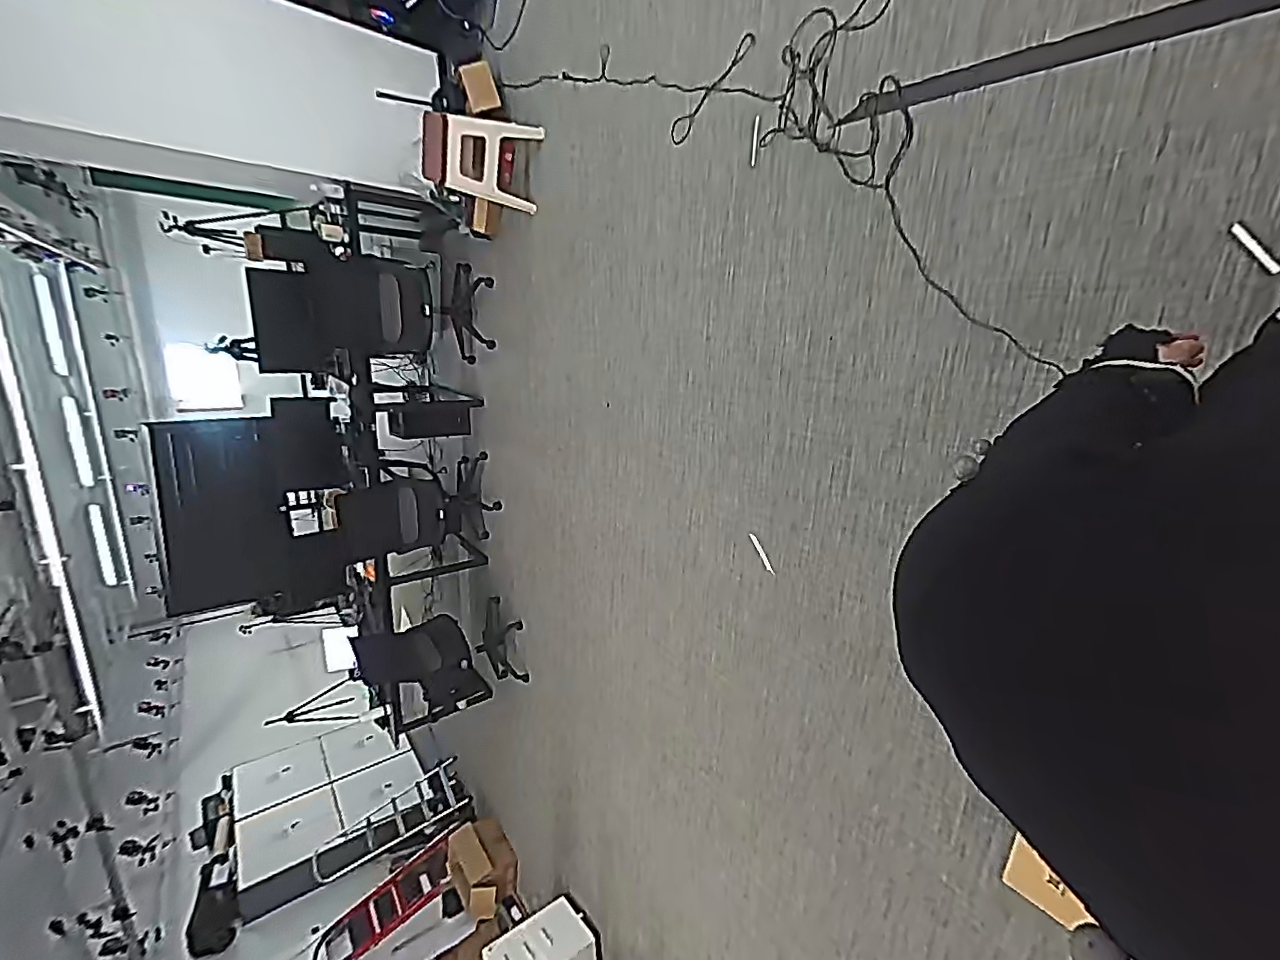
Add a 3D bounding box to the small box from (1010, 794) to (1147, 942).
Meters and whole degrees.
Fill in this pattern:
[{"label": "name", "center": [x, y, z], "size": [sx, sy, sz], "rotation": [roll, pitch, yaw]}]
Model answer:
[{"label": "small box", "center": [0.959, 0.831, 1.185], "size": [0.179, 0.176, 0.168], "rotation": [23, 115, 48]}]
